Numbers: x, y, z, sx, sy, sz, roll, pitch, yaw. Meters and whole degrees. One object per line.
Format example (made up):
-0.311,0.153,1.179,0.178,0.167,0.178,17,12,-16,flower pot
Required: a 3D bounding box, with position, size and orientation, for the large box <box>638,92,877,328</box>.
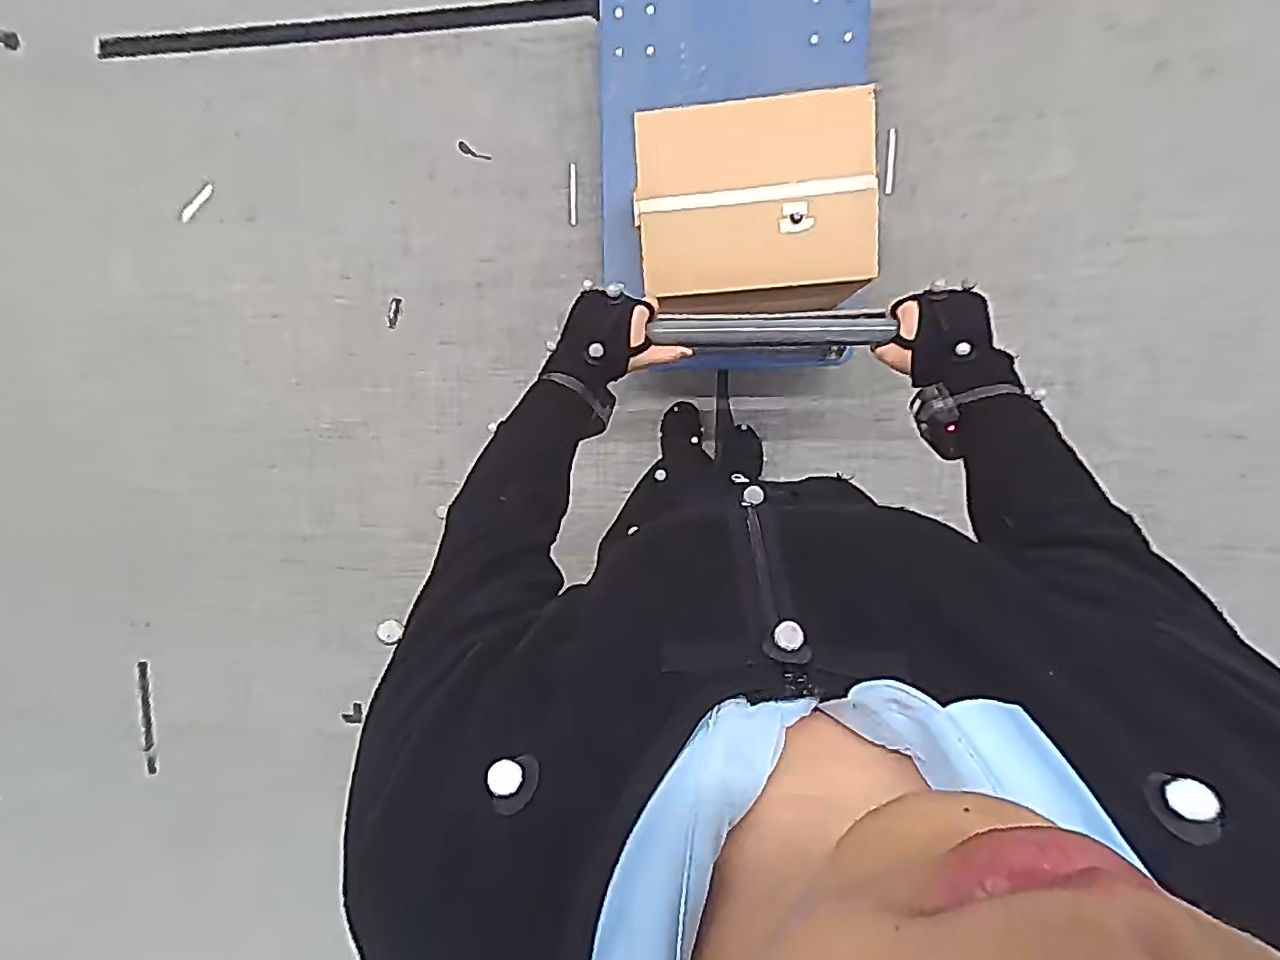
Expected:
0.214,-0.504,1.088,0.408,0.320,0.320,-4,97,5,large box
